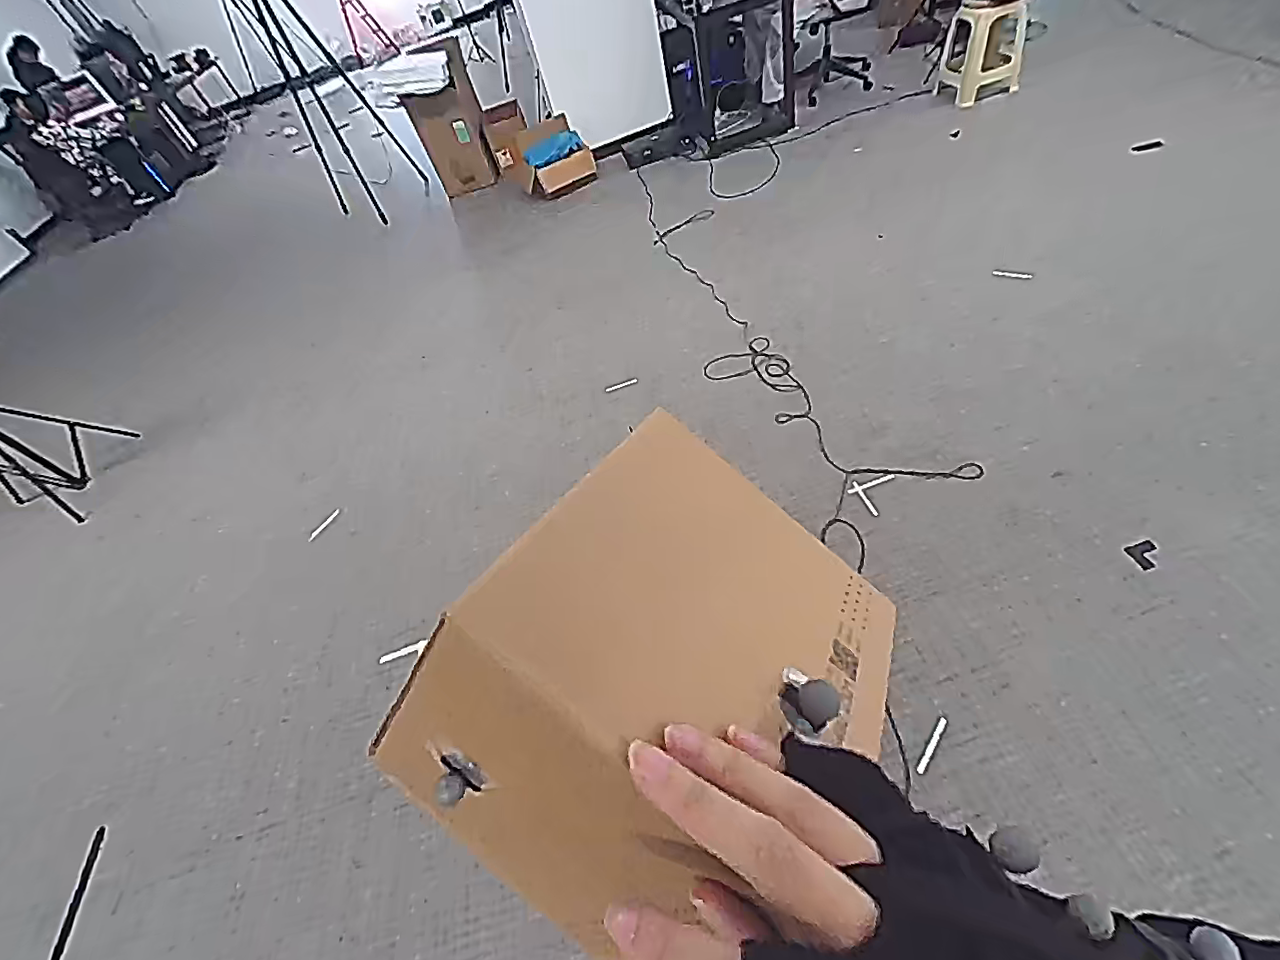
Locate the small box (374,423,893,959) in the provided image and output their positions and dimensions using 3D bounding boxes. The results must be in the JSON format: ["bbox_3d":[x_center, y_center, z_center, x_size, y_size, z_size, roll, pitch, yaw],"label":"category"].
[{"bbox_3d":[-0.002,0.110,0.286,0.176,0.179,0.168,40,41,1],"label":"small box"}]
